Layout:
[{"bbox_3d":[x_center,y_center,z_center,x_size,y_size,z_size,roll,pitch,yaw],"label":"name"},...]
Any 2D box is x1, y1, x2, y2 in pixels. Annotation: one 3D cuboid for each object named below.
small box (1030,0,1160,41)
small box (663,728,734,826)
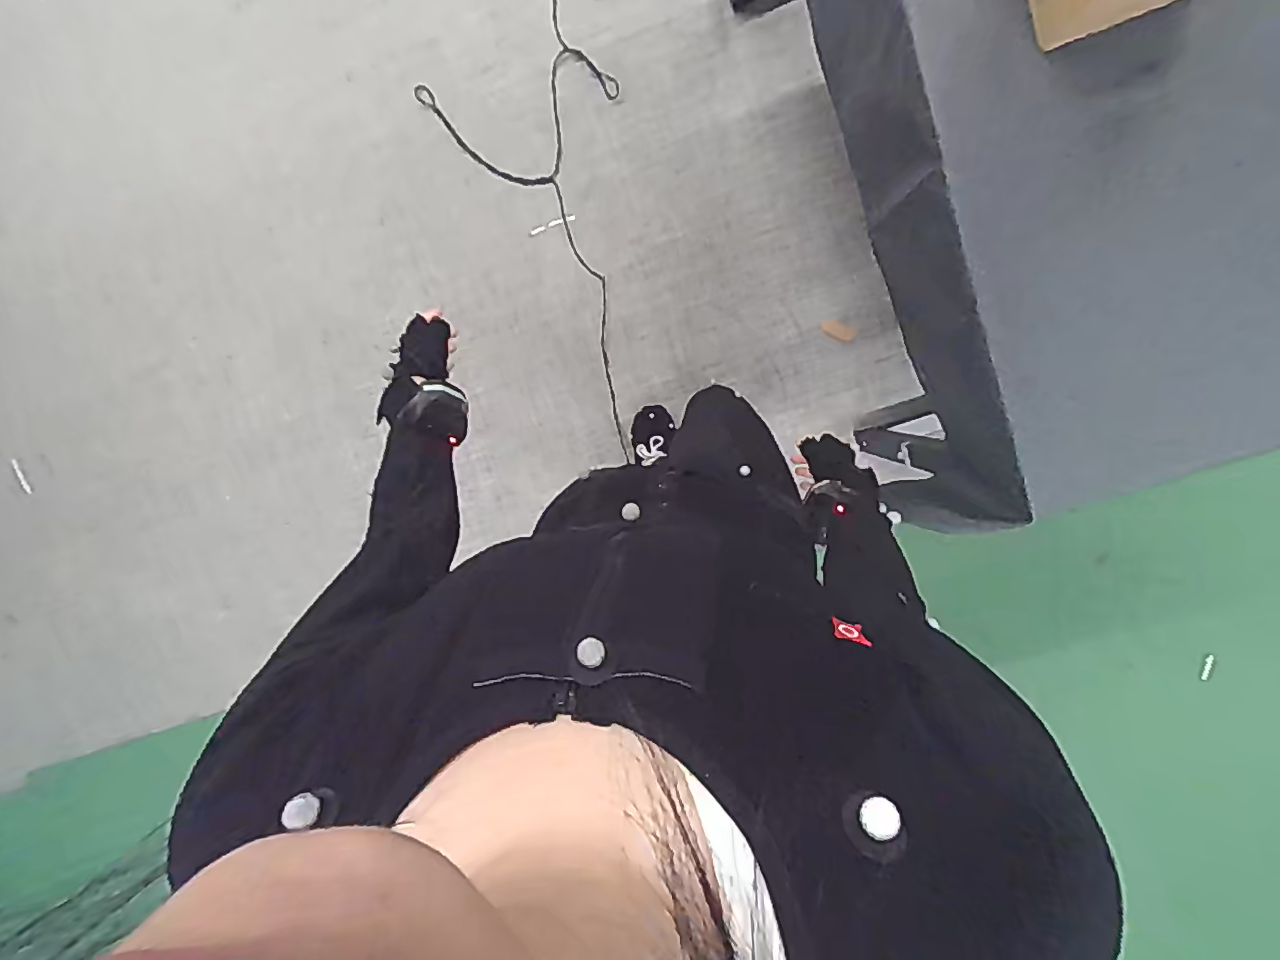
[{"bbox_3d":[0.519,-0.601,0.544,0.179,0.176,0.168,-19,98,6],"label":"small box"},{"bbox_3d":[0.162,0.832,1.536,0.168,0.176,0.179,-13,98,6],"label":"small box"}]
